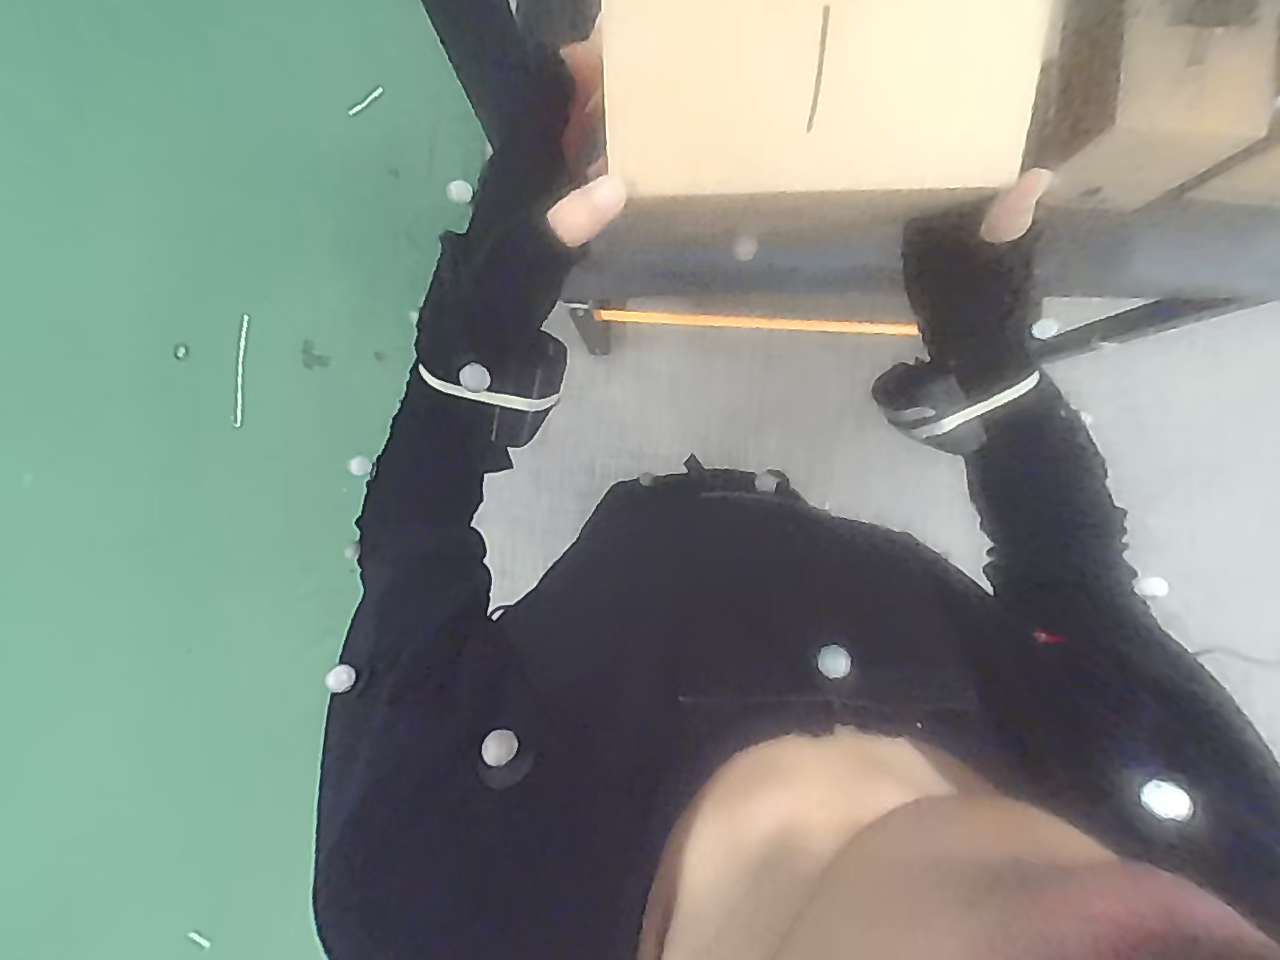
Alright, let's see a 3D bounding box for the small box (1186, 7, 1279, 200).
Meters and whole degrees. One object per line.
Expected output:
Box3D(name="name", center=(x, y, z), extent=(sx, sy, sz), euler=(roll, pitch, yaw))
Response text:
Box3D(name="small box", center=(0.825, -0.465, 0.653), extent=(0.168, 0.176, 0.179), euler=(6, 90, 1))
